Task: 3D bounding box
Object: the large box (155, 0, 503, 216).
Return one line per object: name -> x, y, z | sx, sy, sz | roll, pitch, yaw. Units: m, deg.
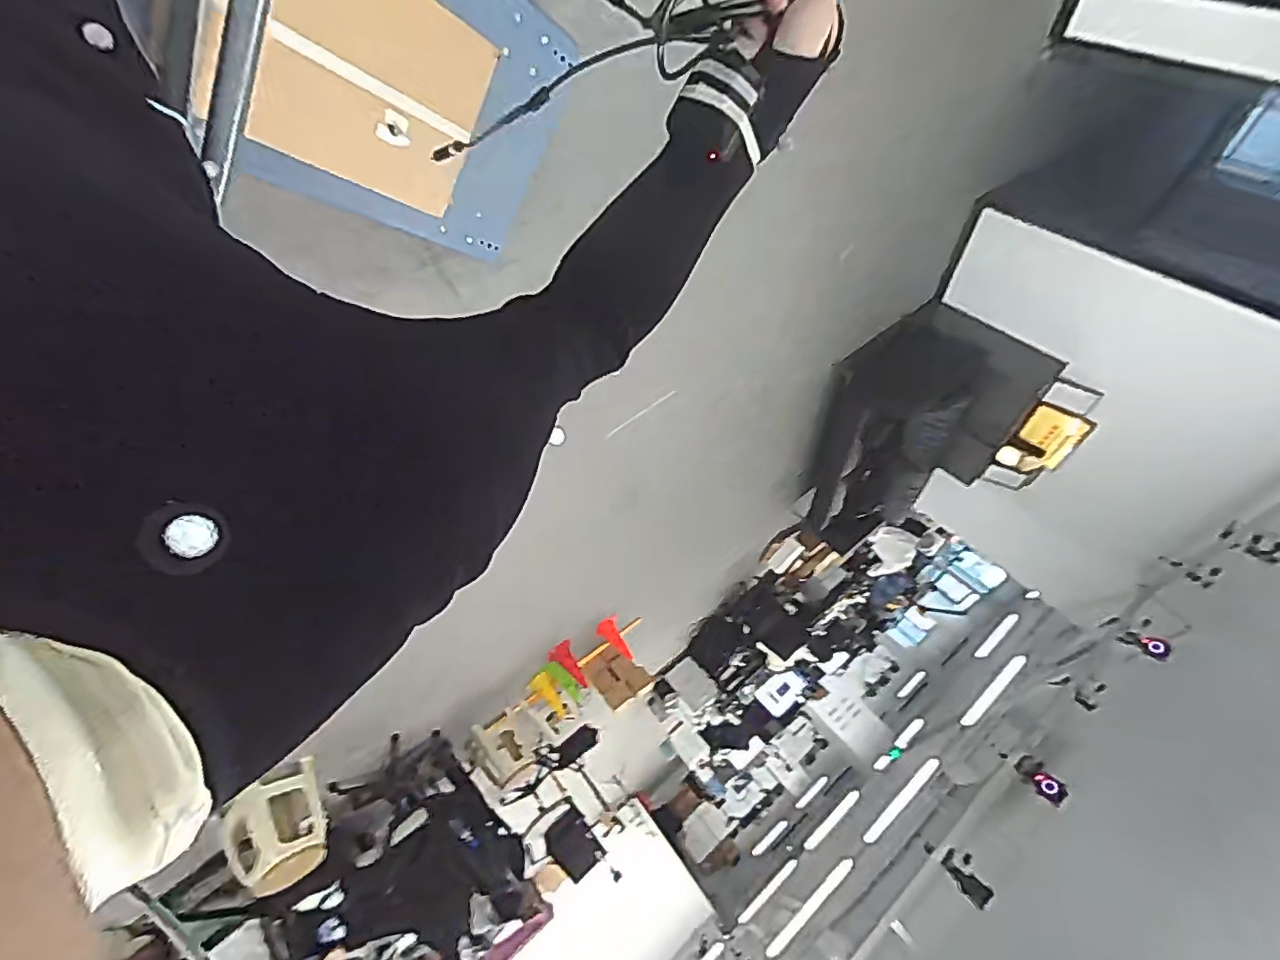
large box -> -0.530, -0.730, 0.933 | 0.408, 0.320, 0.320 | -1, 129, -53
